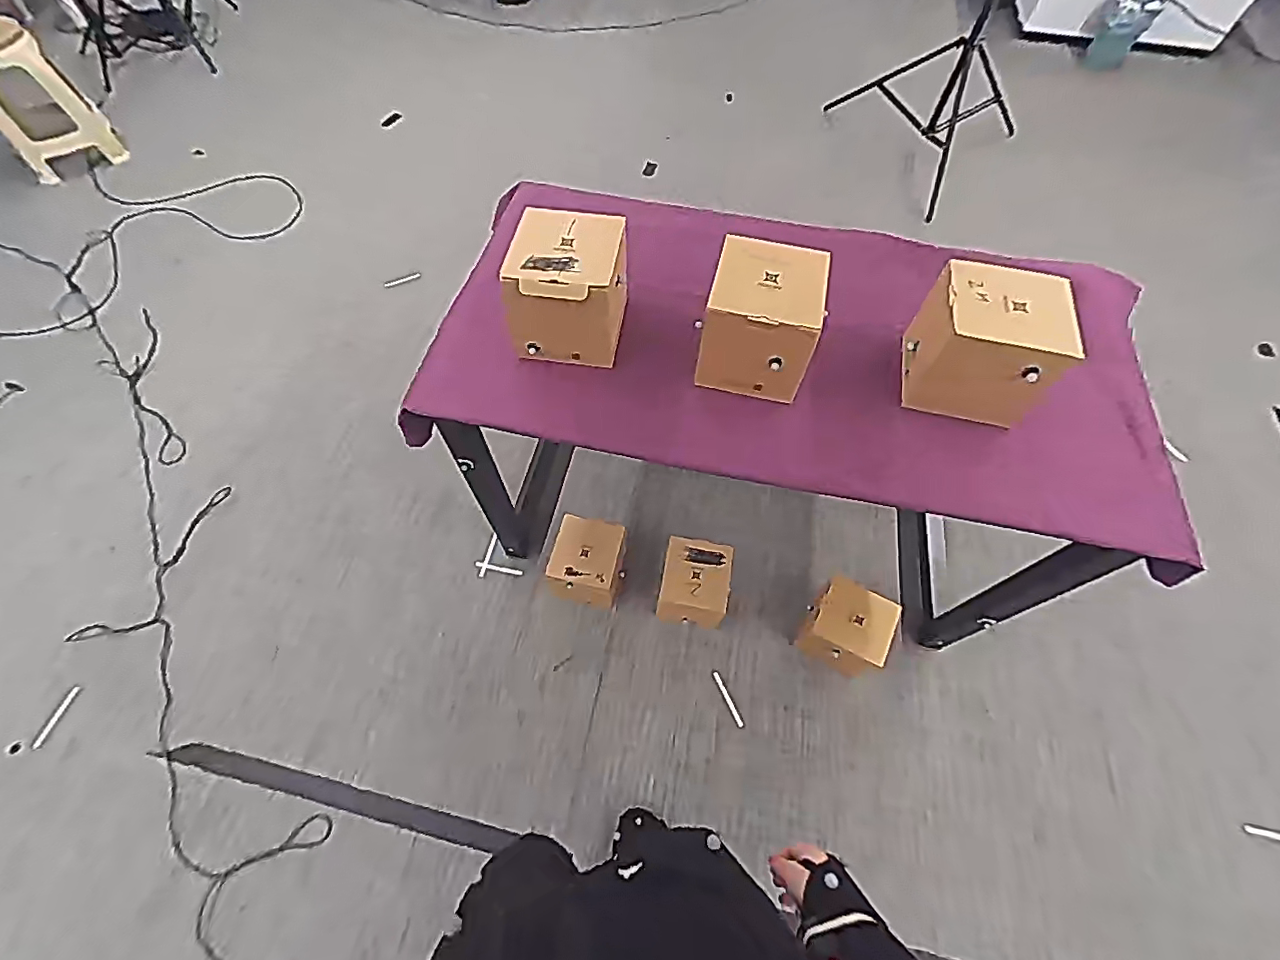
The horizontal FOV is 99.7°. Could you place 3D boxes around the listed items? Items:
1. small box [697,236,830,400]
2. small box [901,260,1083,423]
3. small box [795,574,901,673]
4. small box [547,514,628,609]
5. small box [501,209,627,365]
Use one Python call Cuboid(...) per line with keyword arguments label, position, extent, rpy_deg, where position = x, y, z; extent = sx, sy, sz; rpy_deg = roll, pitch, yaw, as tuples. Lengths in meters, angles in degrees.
Cuboid(label="small box", position=(0.192, -0.253, 0.869), extent=(0.168, 0.176, 0.179), rpy_deg=(13, 59, 5))
Cuboid(label="small box", position=(0.537, -0.210, 0.849), extent=(0.179, 0.176, 0.168), rpy_deg=(13, 61, 6))
Cuboid(label="small box", position=(0.517, 0.369, 1.363), extent=(0.179, 0.176, 0.168), rpy_deg=(26, 64, 14))
Cuboid(label="small box", position=(-0.135, 0.218, 1.434), extent=(0.168, 0.176, 0.179), rpy_deg=(13, 60, 6))
Cuboid(label="small box", position=(-0.113, -0.313, 0.893), extent=(0.168, 0.176, 0.179), rpy_deg=(7, 59, 2))
